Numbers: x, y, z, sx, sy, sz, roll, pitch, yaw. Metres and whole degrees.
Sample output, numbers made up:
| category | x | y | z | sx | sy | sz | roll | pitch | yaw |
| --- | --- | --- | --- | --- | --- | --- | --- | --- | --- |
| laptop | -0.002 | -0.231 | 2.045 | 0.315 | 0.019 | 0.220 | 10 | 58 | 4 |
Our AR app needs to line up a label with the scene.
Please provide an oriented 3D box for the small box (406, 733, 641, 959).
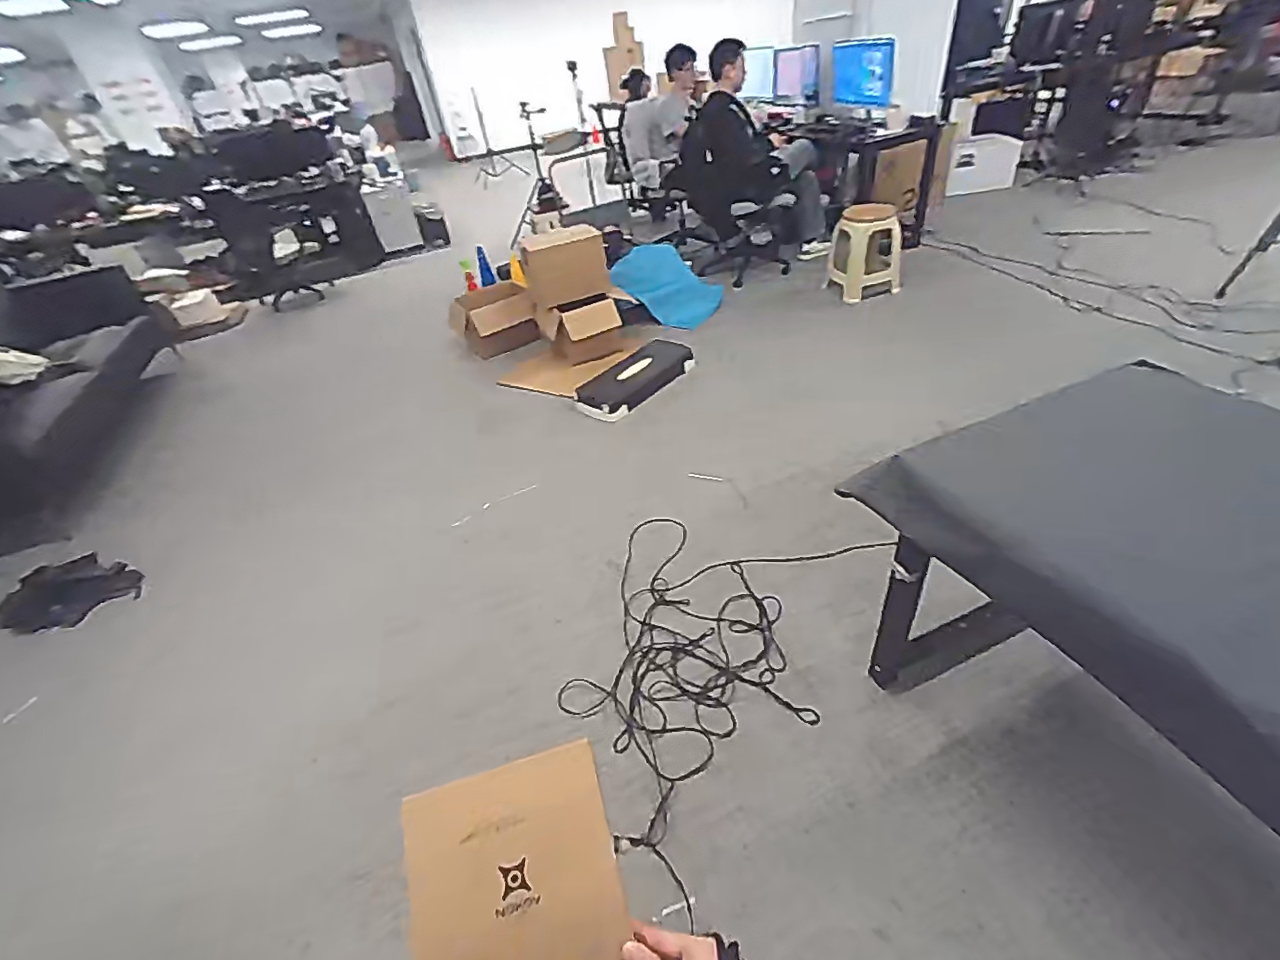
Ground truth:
| category | x | y | z | sx | sy | sz | roll | pitch | yaw |
| --- | --- | --- | --- | --- | --- | --- | --- | --- | --- |
| small box | -0.101 | 0.355 | 0.503 | 0.168 | 0.176 | 0.179 | -13 | 62 | -11 |
